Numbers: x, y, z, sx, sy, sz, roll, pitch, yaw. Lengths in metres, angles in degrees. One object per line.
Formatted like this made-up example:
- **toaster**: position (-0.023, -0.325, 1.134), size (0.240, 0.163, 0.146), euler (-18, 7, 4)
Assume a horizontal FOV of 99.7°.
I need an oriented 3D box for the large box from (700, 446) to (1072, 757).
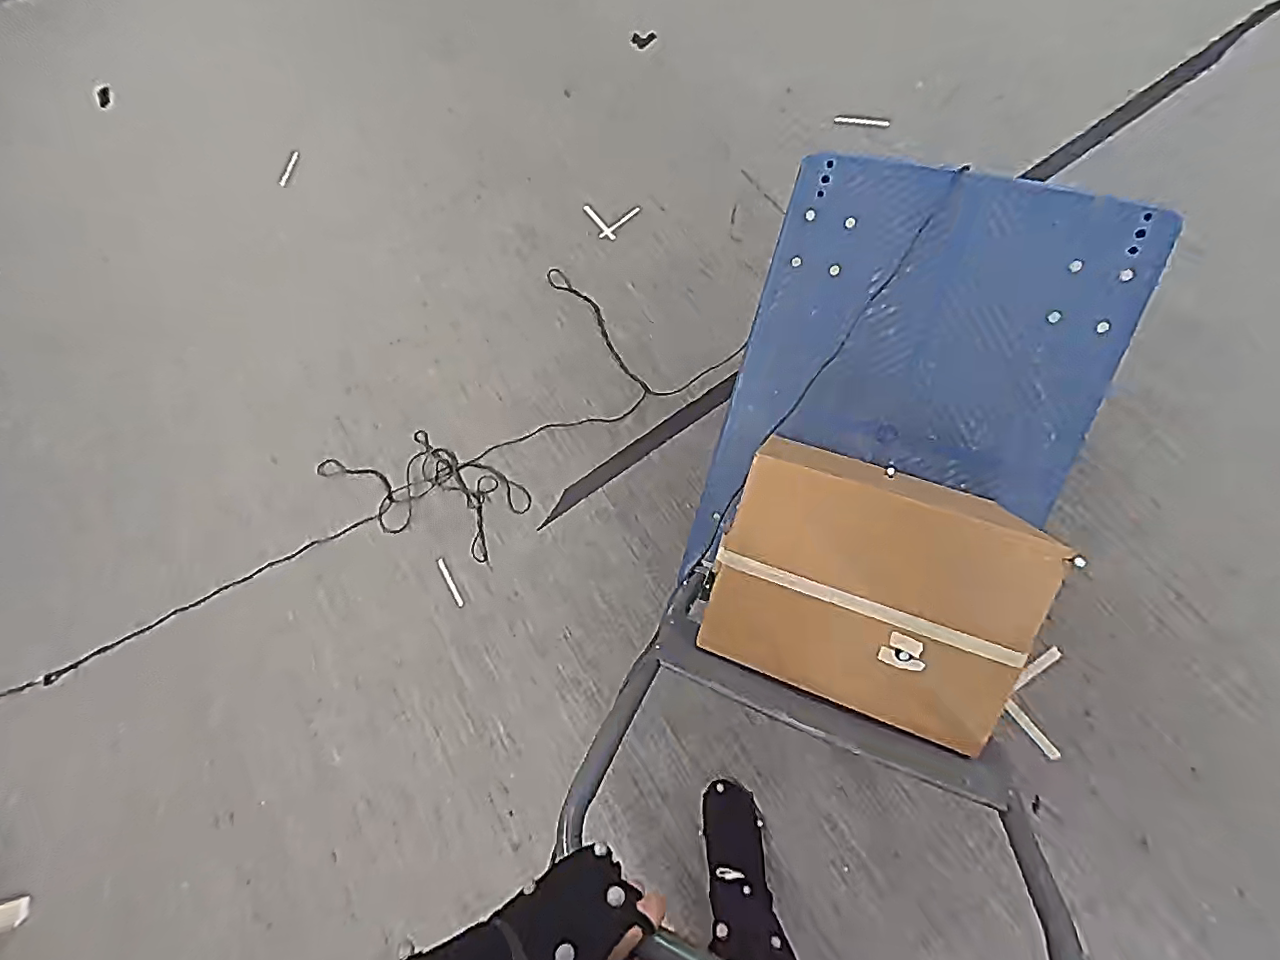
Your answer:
- **large box**: position (0.348, 0.151, 0.877), size (0.408, 0.320, 0.320), euler (18, 105, 13)
